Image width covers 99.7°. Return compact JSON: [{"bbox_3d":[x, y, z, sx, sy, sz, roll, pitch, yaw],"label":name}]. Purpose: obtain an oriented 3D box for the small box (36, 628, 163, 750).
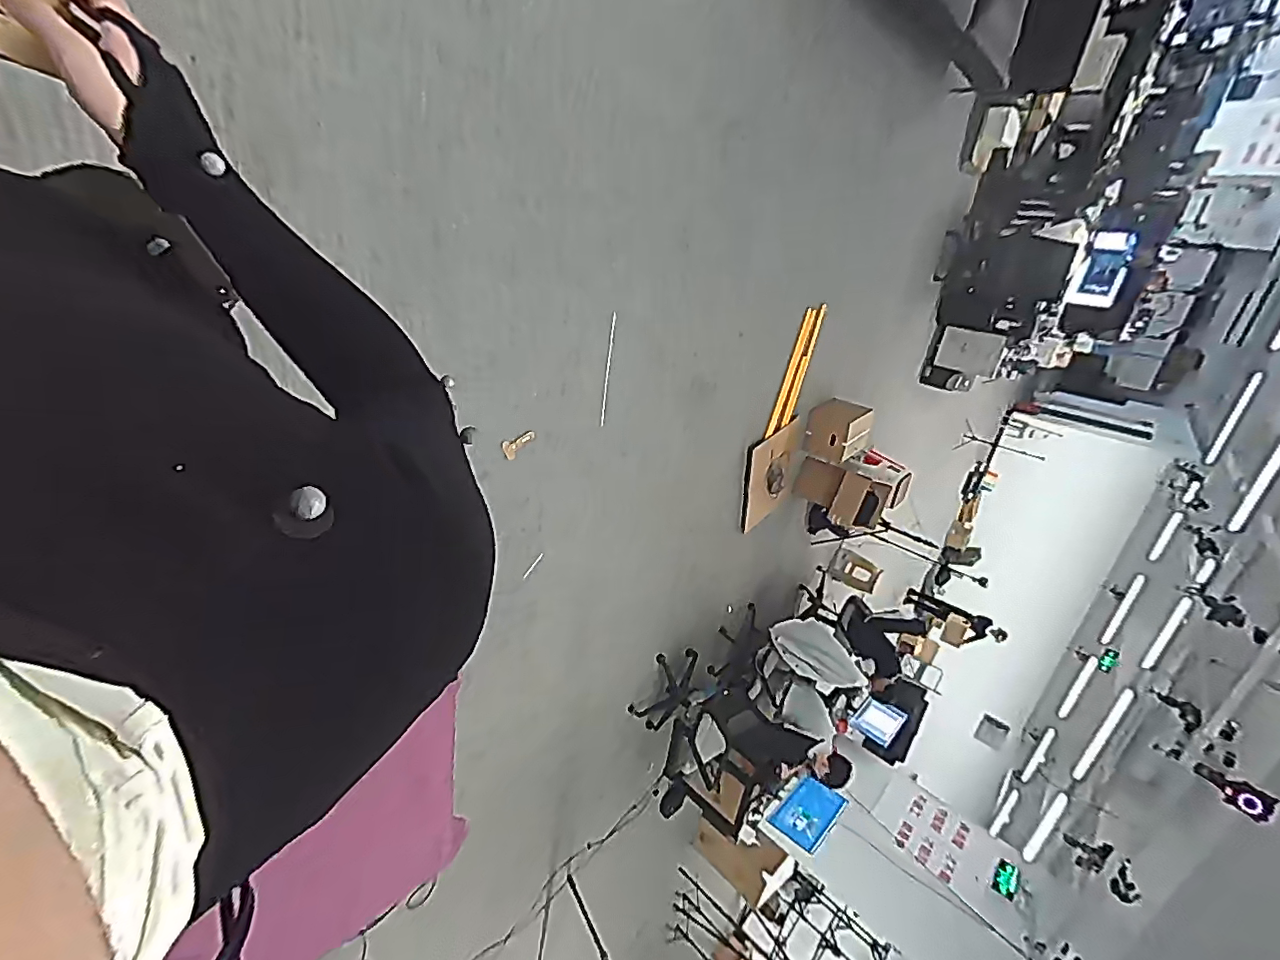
[{"bbox_3d":[-1.296,0.492,1.297,0.179,0.176,0.168,-24,129,-42],"label":"small box"}]
